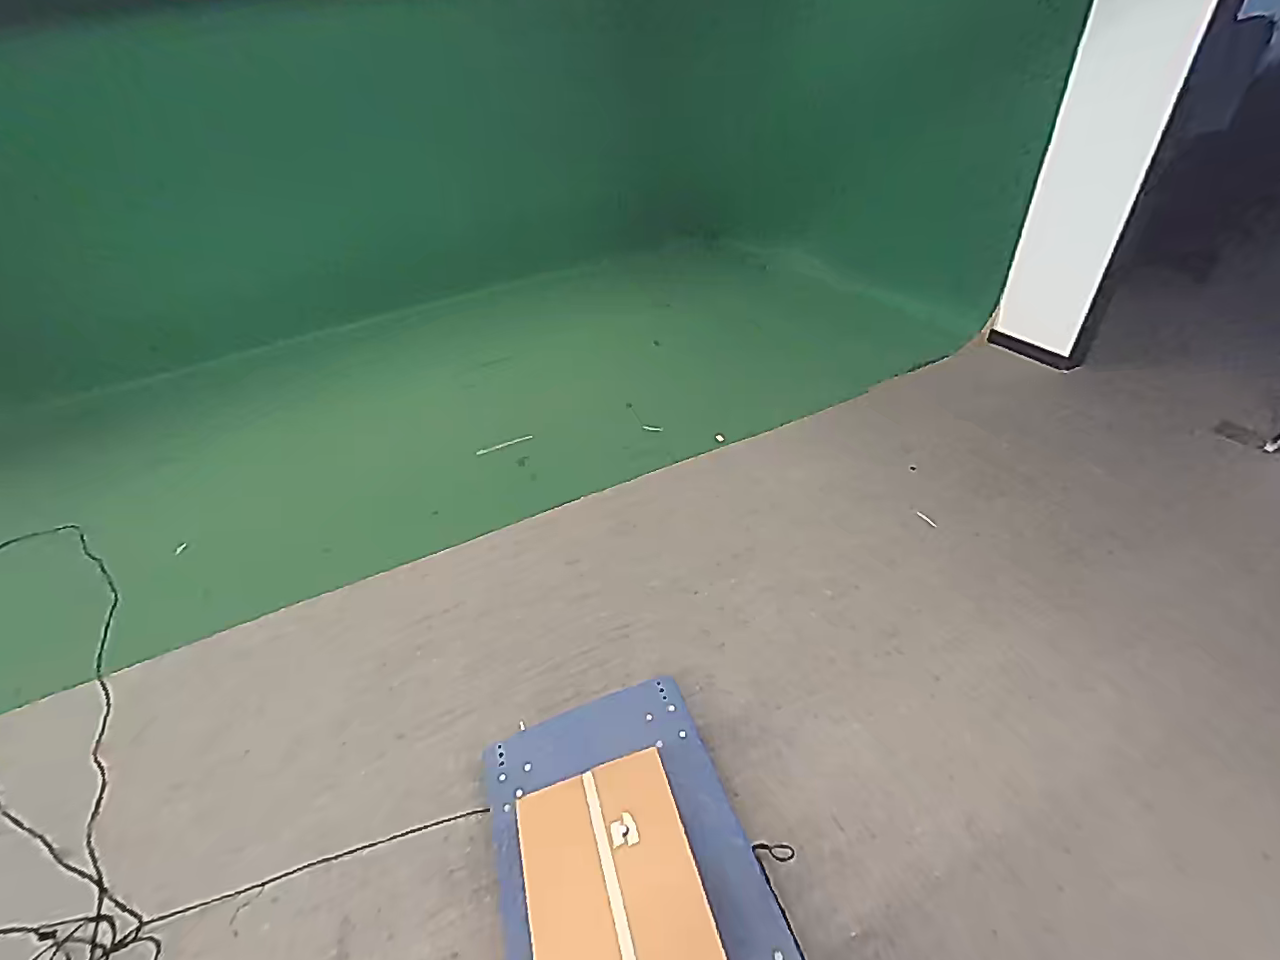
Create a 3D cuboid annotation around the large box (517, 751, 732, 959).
[{"bbox_3d":[-0.029,0.848,1.074,0.320,0.320,0.408,-16,39,-9],"label":"large box"}]
